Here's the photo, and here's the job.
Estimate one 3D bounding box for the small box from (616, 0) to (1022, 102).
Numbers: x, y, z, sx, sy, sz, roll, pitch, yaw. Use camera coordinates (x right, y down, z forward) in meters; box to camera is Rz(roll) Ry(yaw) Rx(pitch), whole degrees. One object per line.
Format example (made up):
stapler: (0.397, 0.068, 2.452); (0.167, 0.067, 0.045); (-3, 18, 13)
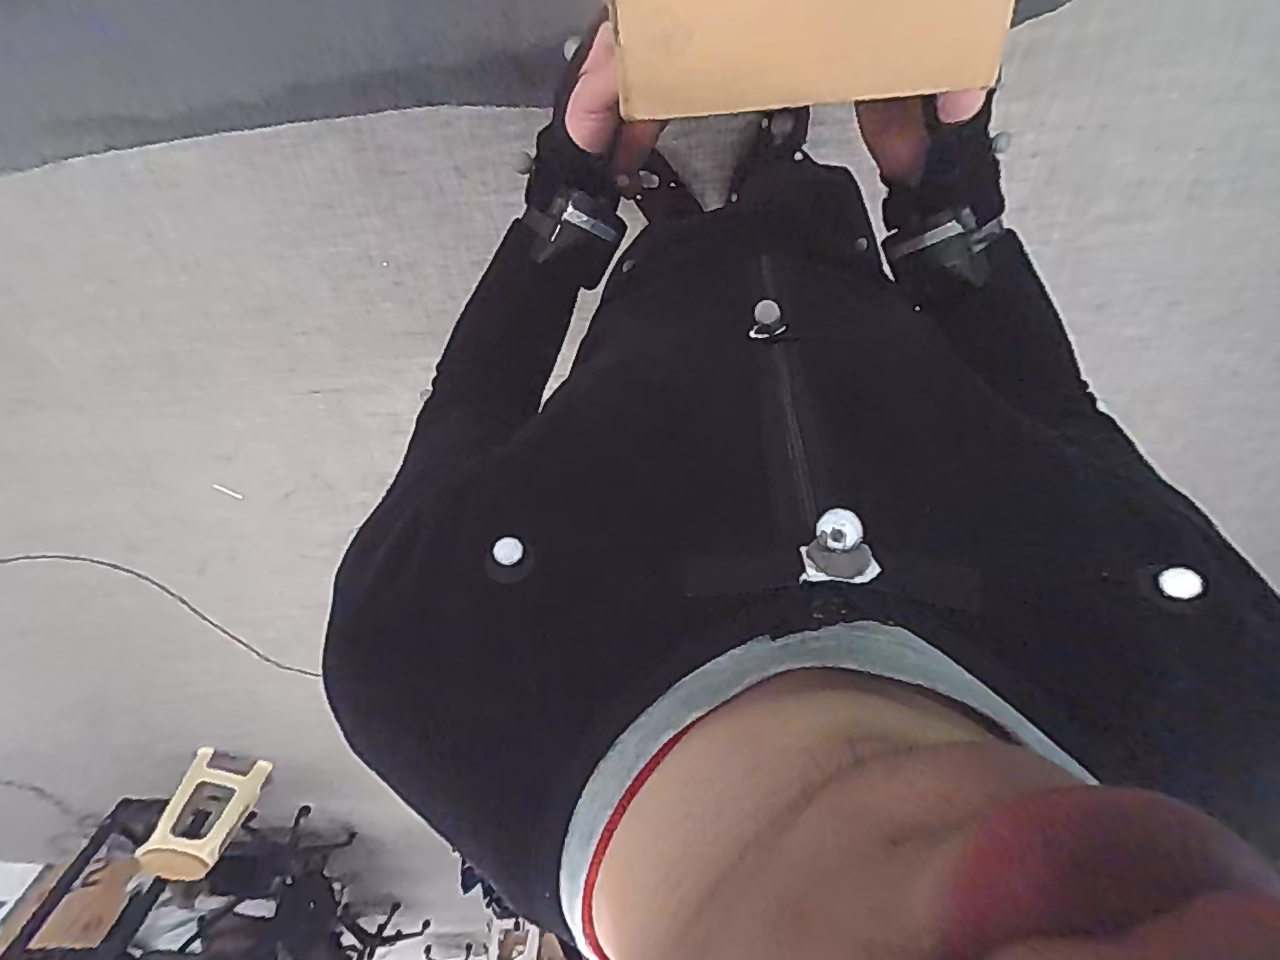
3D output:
small box: (0.083, -0.298, 0.273); (0.179, 0.176, 0.168); (0, 126, 11)
